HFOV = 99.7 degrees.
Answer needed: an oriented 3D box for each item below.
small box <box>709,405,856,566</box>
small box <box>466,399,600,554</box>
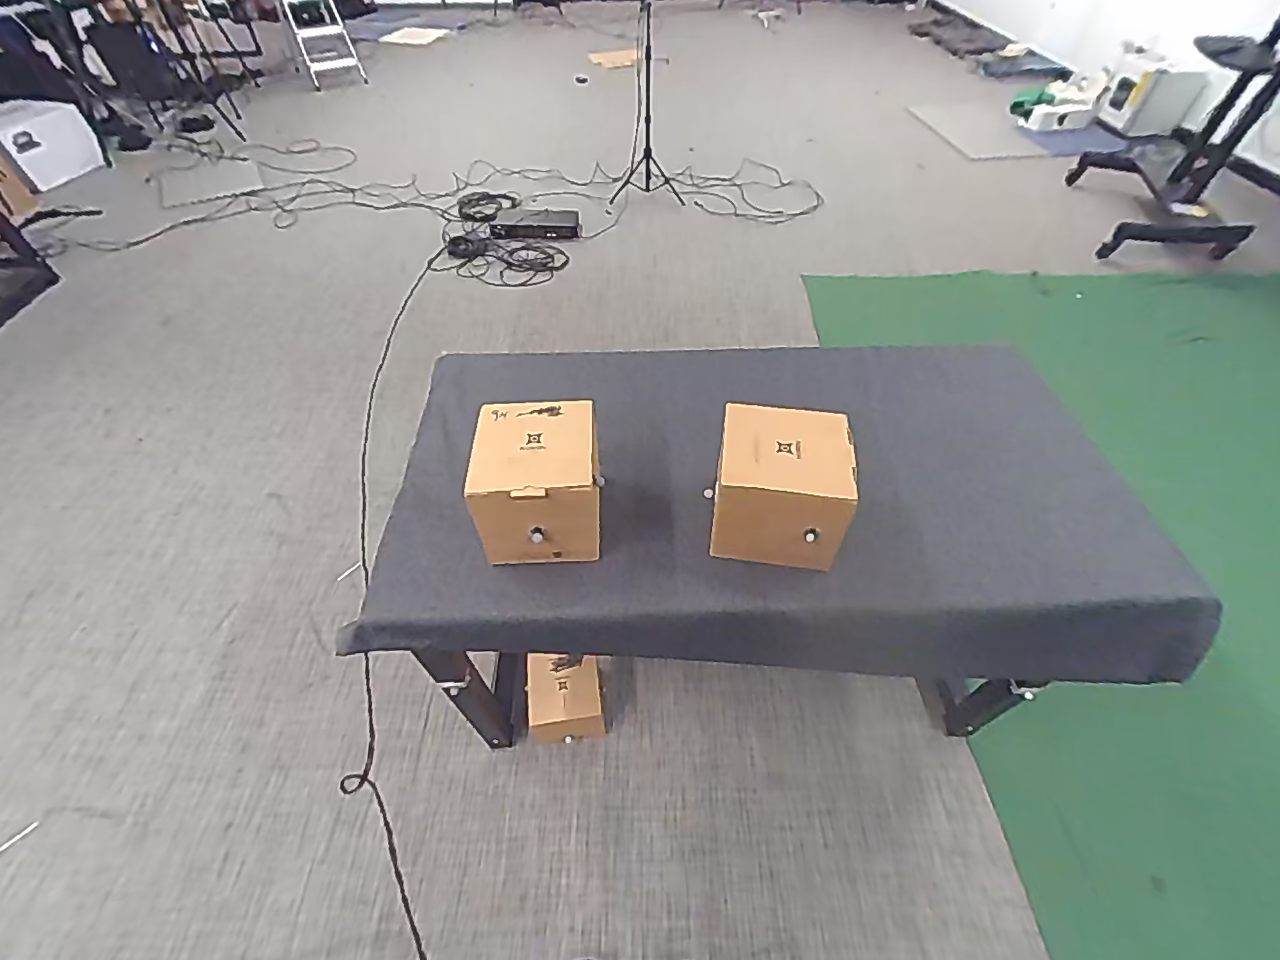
[{"bbox_3d":[0.202,0.011,0.805,0.179,0.176,0.168,6,48,6],"label":"small box"},{"bbox_3d":[-0.146,0.001,0.808,0.168,0.176,0.179,-2,49,-2],"label":"small box"}]
